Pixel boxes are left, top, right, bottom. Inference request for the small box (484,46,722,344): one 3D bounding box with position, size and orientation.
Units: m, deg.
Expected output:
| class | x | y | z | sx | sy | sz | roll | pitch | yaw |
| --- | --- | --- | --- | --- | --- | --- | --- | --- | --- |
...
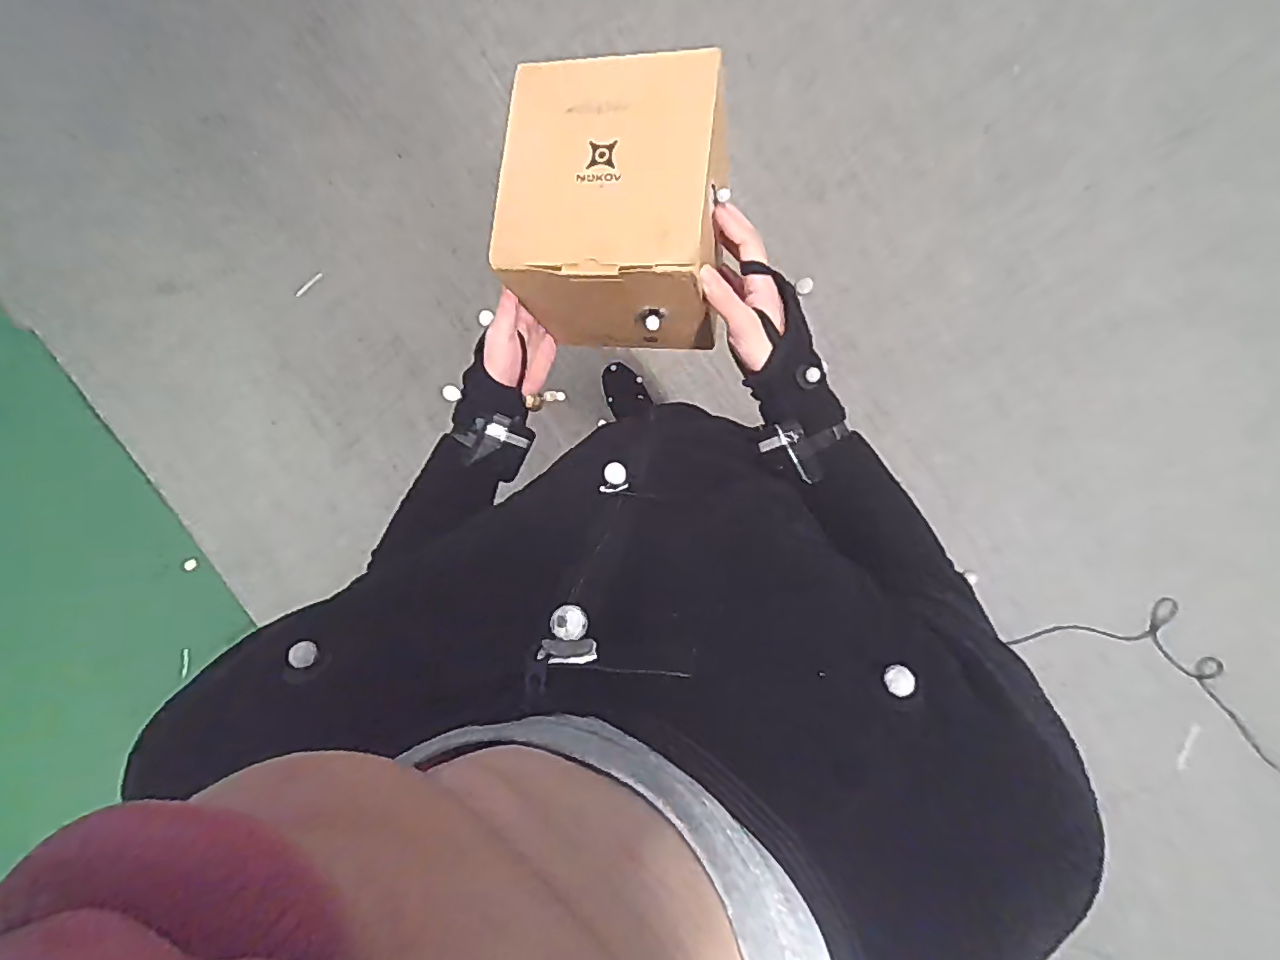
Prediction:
| class | x | y | z | sx | sy | sz | roll | pitch | yaw |
| --- | --- | --- | --- | --- | --- | --- | --- | --- | --- |
| small box | -0.018 | -0.234 | 0.486 | 0.168 | 0.176 | 0.179 | 5 | 83 | 11 |
